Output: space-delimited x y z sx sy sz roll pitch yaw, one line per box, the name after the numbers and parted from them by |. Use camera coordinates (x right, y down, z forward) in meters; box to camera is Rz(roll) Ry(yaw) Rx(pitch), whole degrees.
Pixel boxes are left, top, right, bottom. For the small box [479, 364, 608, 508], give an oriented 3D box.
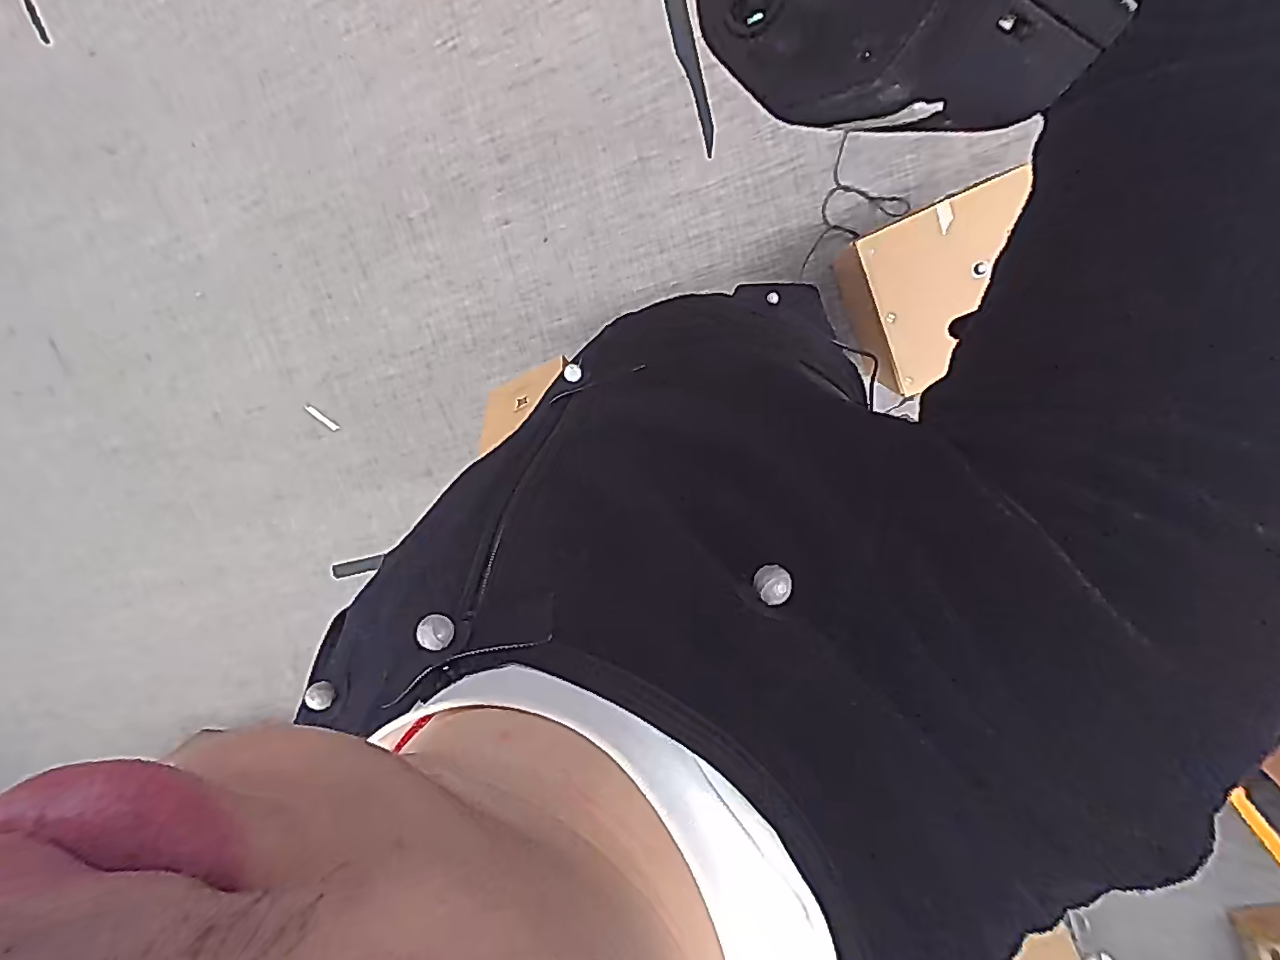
-0.168 -0.070 0.988 0.168 0.179 0.176 -23 134 15 | small box
